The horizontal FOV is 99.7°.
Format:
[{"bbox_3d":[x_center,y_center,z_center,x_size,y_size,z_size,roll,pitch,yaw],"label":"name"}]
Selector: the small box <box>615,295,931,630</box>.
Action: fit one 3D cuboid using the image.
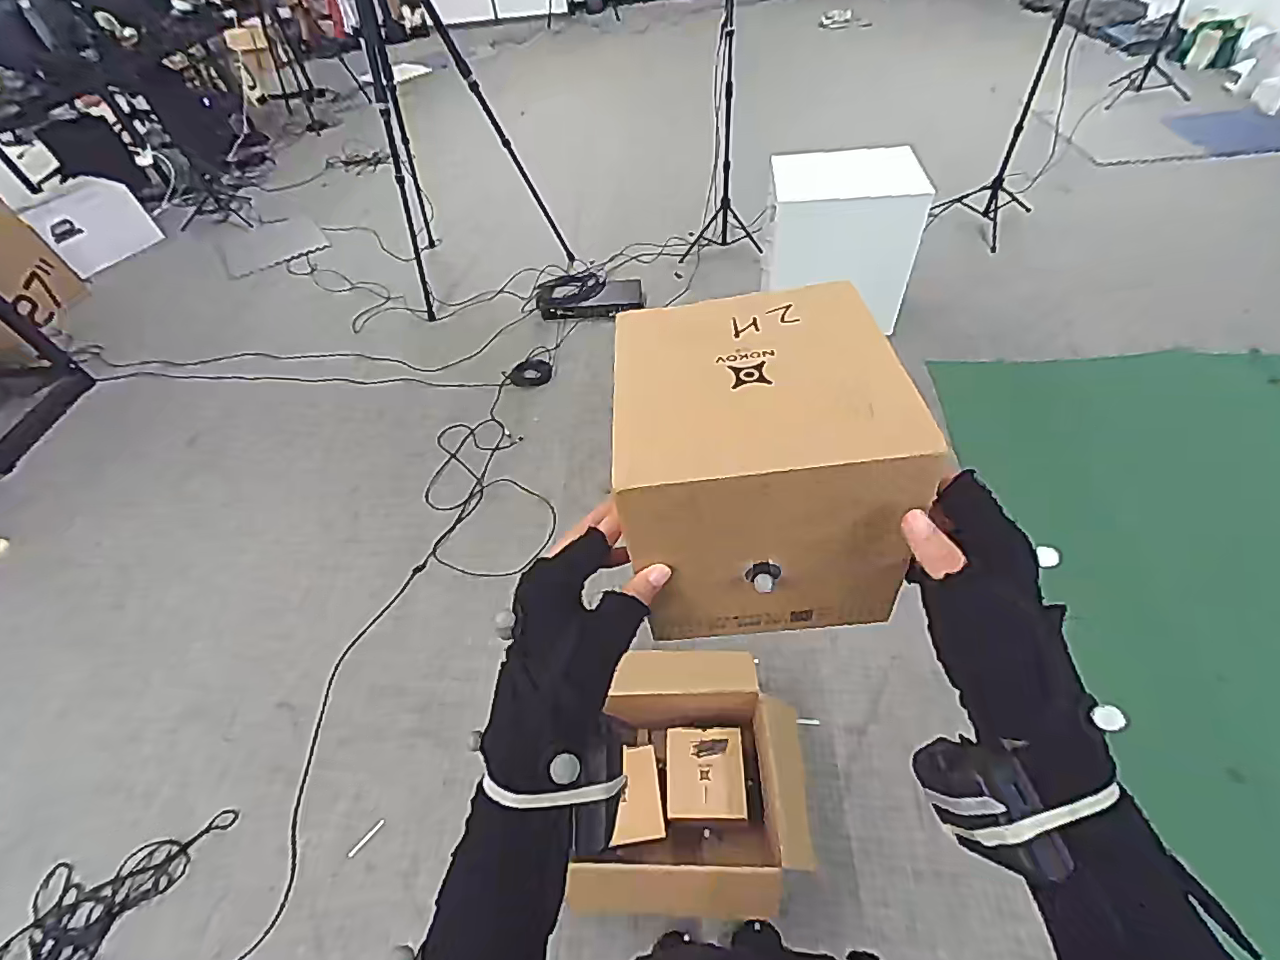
[{"bbox_3d":[0.078,-0.005,0.391,0.168,0.176,0.179,-6,47,5],"label":"small box"}]
